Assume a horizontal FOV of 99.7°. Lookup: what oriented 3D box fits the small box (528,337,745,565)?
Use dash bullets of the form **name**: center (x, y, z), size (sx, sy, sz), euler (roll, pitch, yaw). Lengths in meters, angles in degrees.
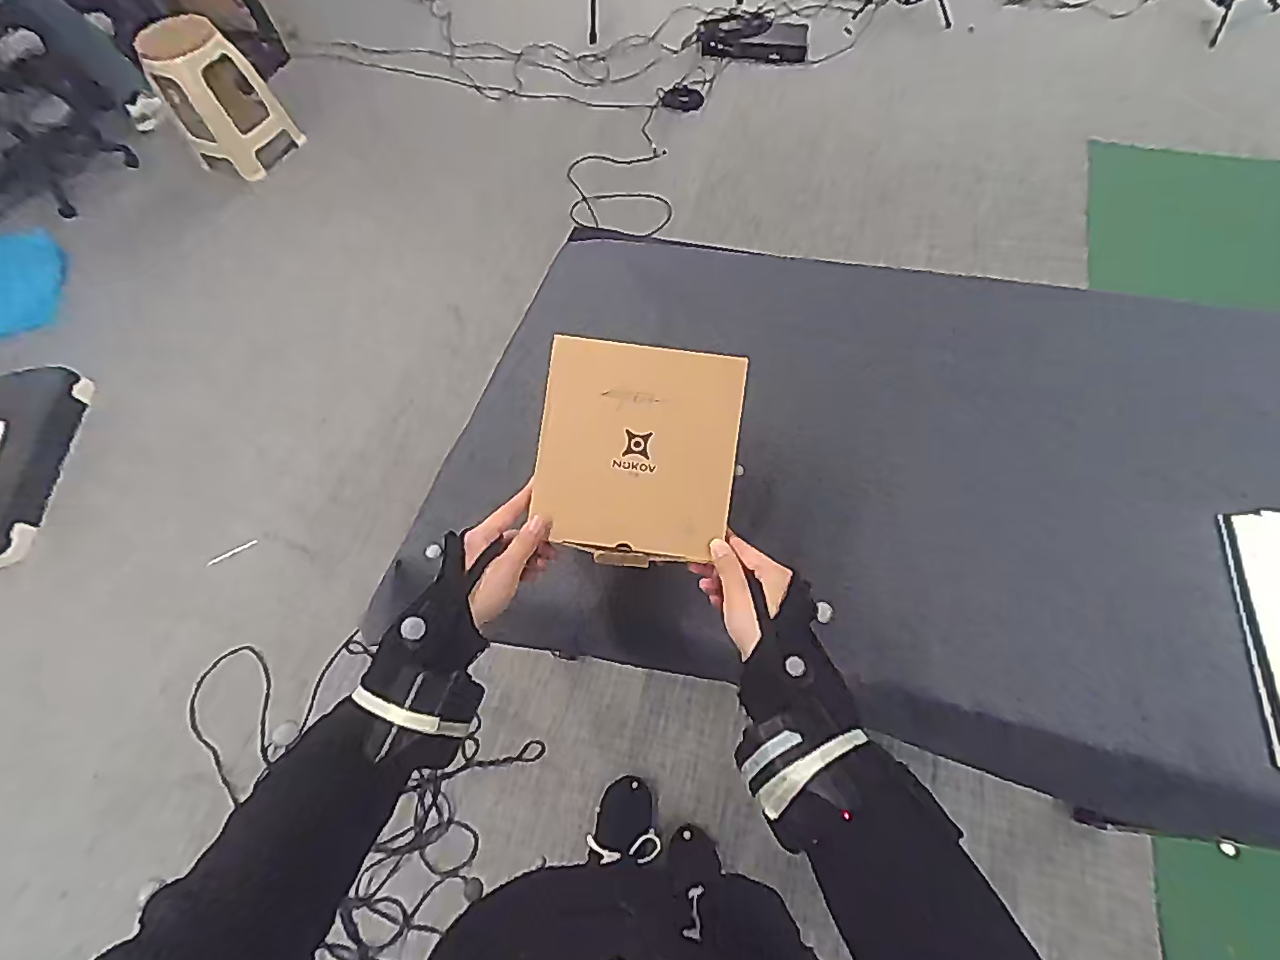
- **small box**: center (0.000, -0.022, 0.531), size (0.168, 0.176, 0.179), euler (7, 87, 1)
